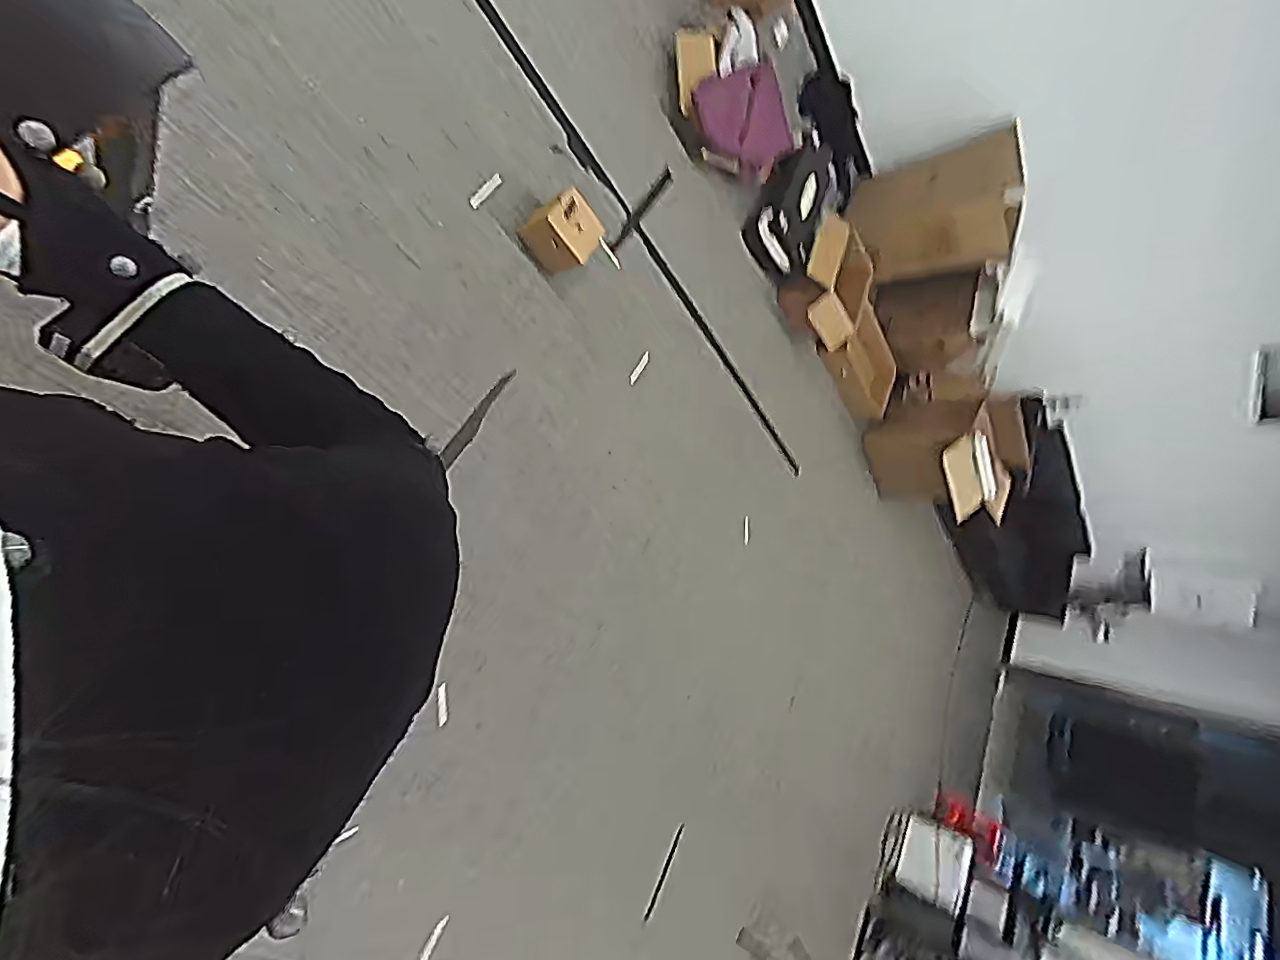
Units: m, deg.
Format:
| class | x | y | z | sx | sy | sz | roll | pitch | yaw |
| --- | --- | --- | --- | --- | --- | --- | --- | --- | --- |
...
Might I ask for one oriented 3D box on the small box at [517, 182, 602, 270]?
| class | x | y | z | sx | sy | sz | roll | pitch | yaw |
| --- | --- | --- | --- | --- | --- | --- | --- | --- | --- |
| small box | -0.263 | -0.808 | 1.743 | 0.179 | 0.176 | 0.168 | 45 | 62 | -36 |
